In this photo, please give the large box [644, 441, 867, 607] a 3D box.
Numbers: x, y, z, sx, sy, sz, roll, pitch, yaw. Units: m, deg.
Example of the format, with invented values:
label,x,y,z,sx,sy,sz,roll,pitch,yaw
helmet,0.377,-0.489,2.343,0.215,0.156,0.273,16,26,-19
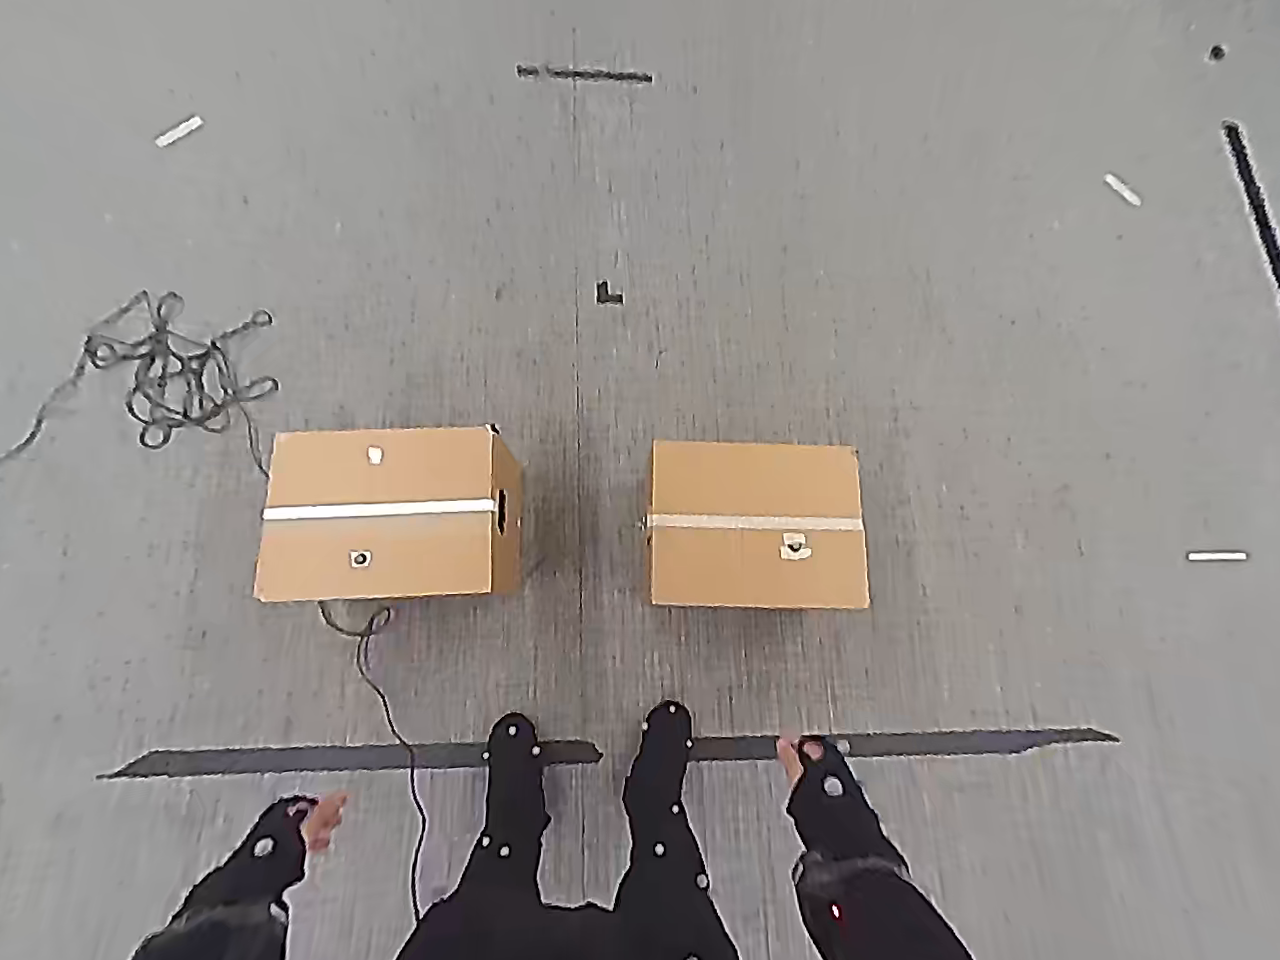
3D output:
label,x,y,z,sx,sy,sz,roll,pitch,yaw
large box,0.217,0.113,1.174,0.408,0.320,0.320,2,77,-3
